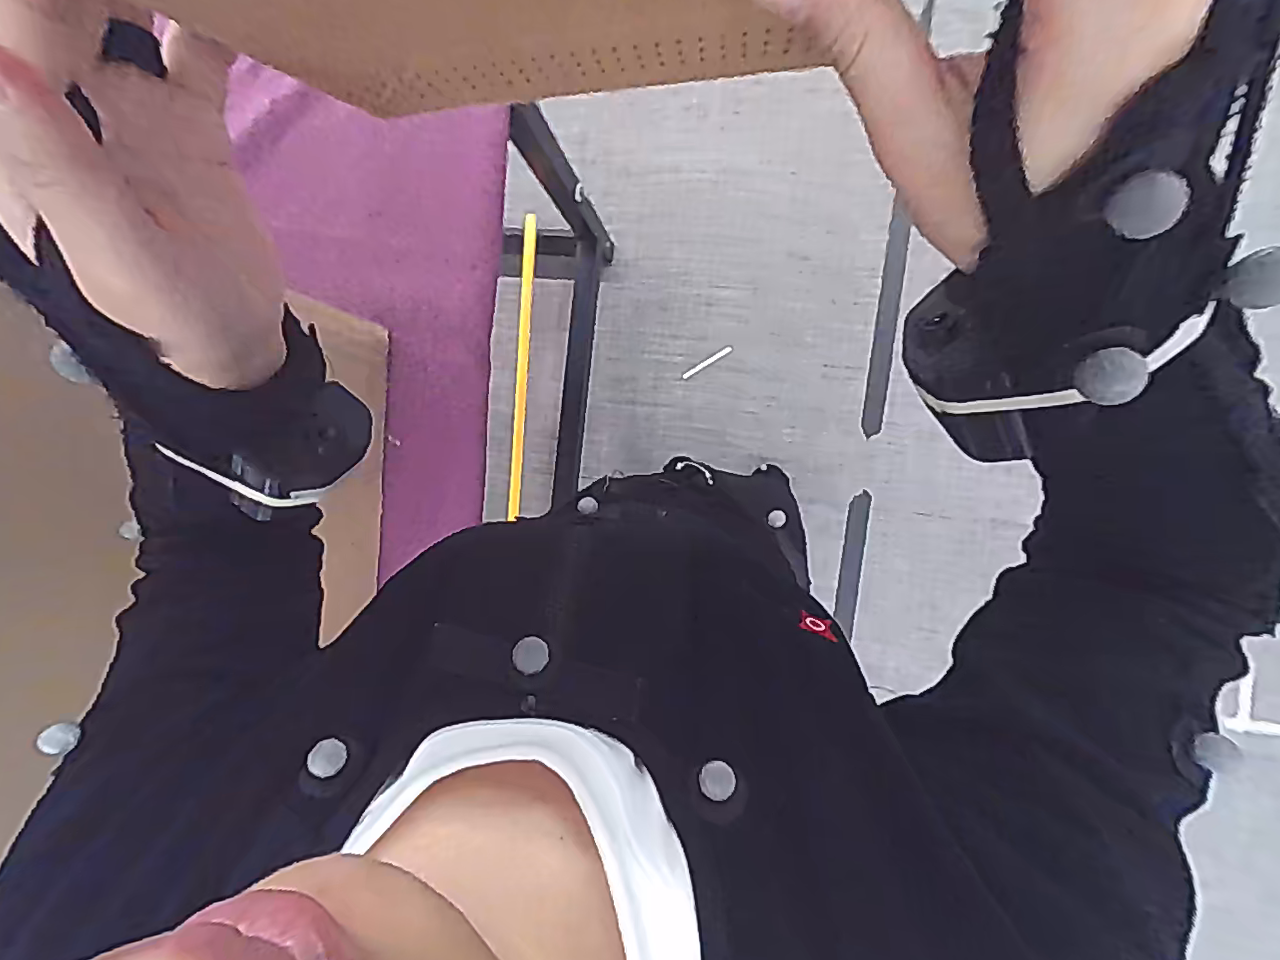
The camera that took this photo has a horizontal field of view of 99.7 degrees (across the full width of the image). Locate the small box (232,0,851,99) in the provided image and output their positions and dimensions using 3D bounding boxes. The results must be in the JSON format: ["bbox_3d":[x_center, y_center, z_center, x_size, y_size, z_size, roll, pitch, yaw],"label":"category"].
[{"bbox_3d":[-0.032,-0.192,0.092,0.179,0.176,0.168,0,108,9],"label":"small box"}]
